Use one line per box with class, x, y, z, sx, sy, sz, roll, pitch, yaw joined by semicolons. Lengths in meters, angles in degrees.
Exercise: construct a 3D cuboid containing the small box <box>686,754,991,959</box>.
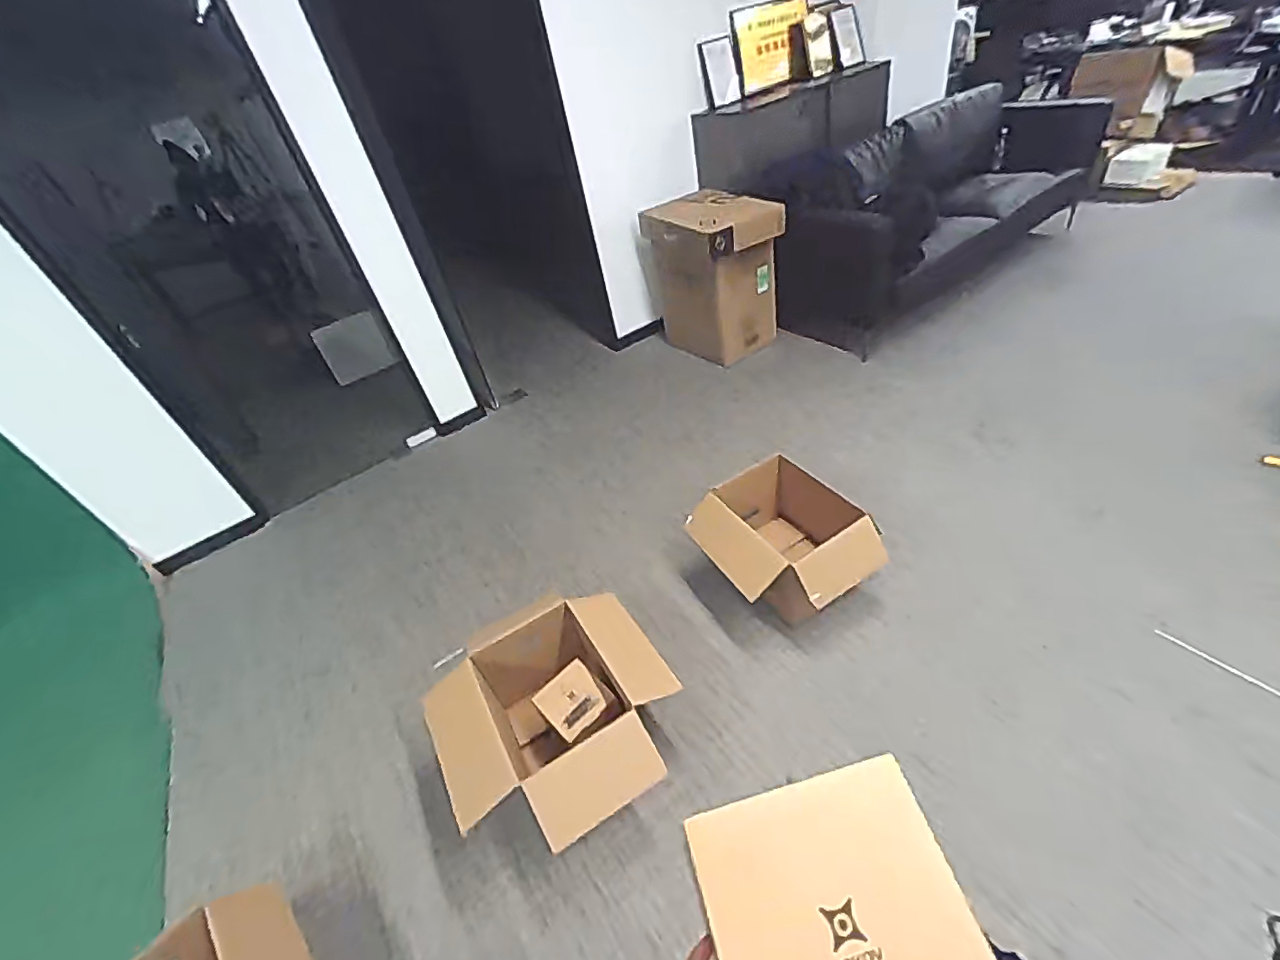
small box;0.134;0.337;0.407;0.168;0.176;0.179;-14;52;-5
